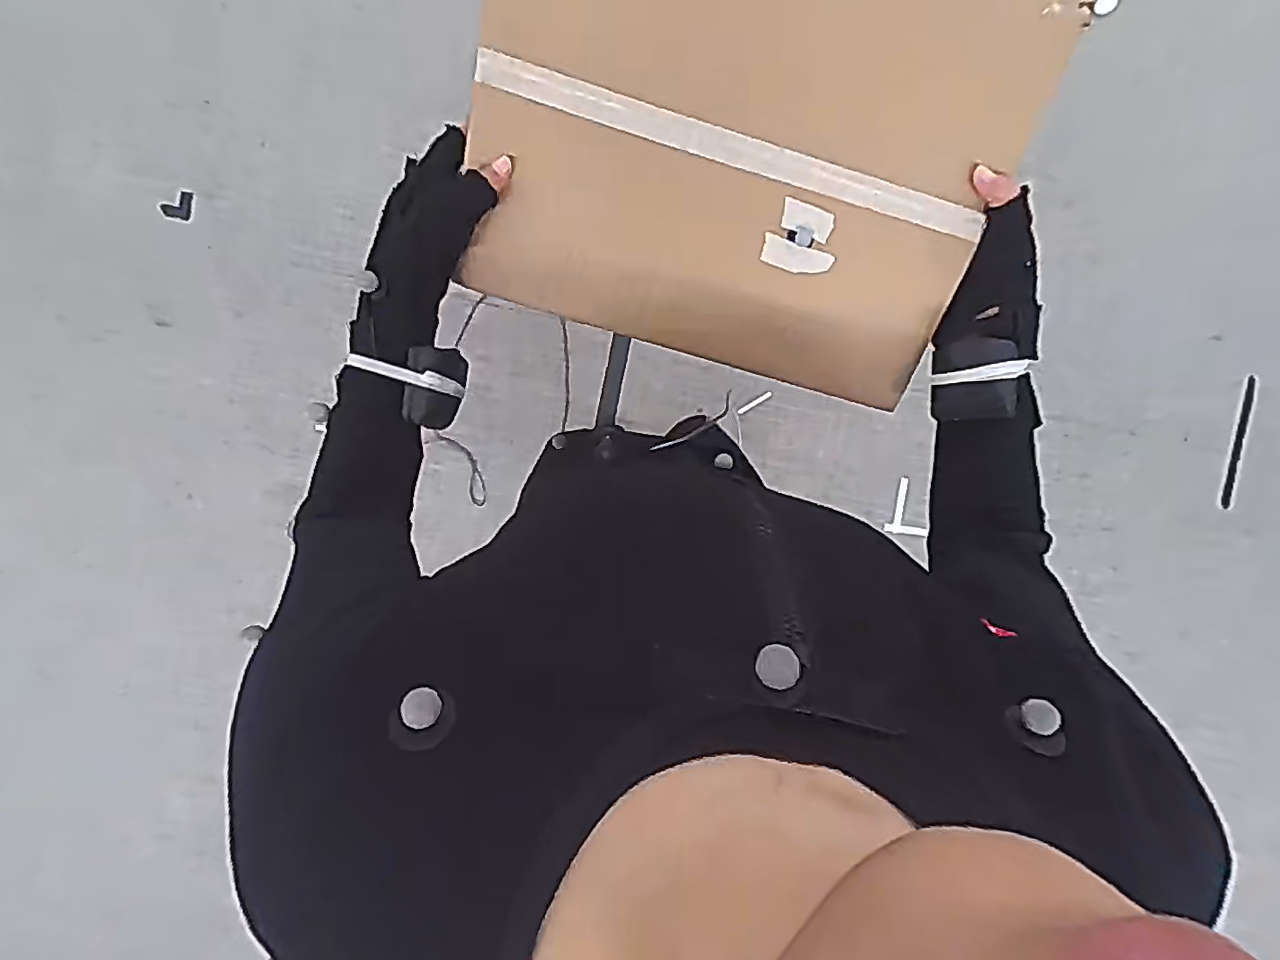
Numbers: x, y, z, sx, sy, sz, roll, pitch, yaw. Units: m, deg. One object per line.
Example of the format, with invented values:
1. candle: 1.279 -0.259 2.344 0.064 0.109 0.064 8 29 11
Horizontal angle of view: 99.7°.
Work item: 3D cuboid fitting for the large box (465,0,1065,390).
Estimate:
1. large box: 0.076 -0.323 0.561 0.408 0.320 0.320 14 114 -7
